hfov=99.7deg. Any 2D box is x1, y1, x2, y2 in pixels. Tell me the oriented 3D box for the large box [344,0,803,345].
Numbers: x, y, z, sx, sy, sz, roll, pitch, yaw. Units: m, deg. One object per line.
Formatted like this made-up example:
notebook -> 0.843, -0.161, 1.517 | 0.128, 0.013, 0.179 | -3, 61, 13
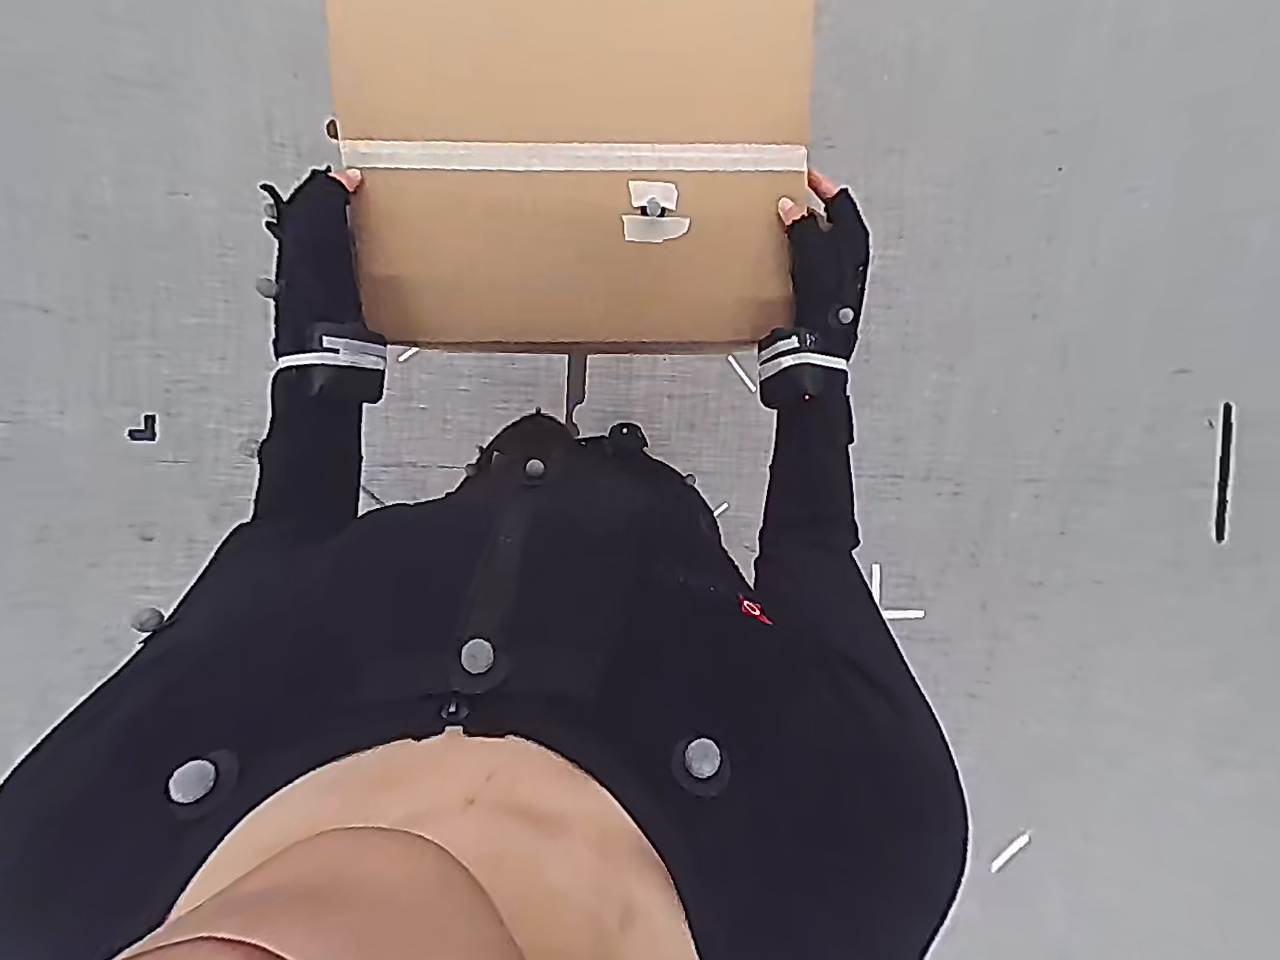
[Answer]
large box -> -0.060, -0.329, 0.637 | 0.408, 0.320, 0.320 | -1, 103, -3
